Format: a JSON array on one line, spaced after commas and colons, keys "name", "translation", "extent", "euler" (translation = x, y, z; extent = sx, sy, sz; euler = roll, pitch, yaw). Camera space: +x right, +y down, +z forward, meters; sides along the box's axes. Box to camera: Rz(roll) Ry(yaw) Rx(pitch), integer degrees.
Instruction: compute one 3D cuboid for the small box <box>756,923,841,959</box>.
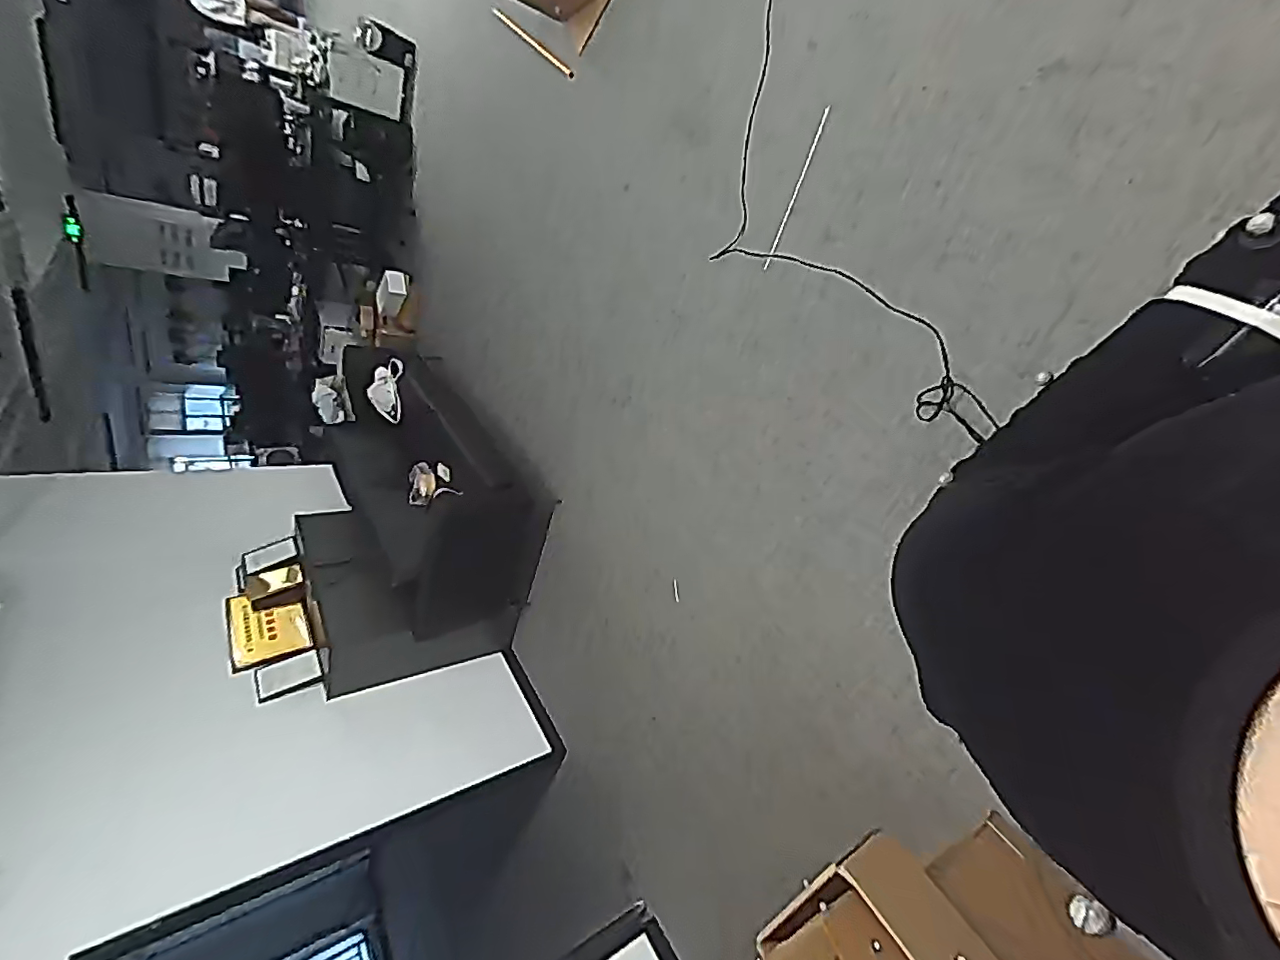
[{"name": "small box", "translation": [0.299, 0.988, 1.020], "extent": [0.168, 0.176, 0.179], "euler": [54, 133, 36]}]
